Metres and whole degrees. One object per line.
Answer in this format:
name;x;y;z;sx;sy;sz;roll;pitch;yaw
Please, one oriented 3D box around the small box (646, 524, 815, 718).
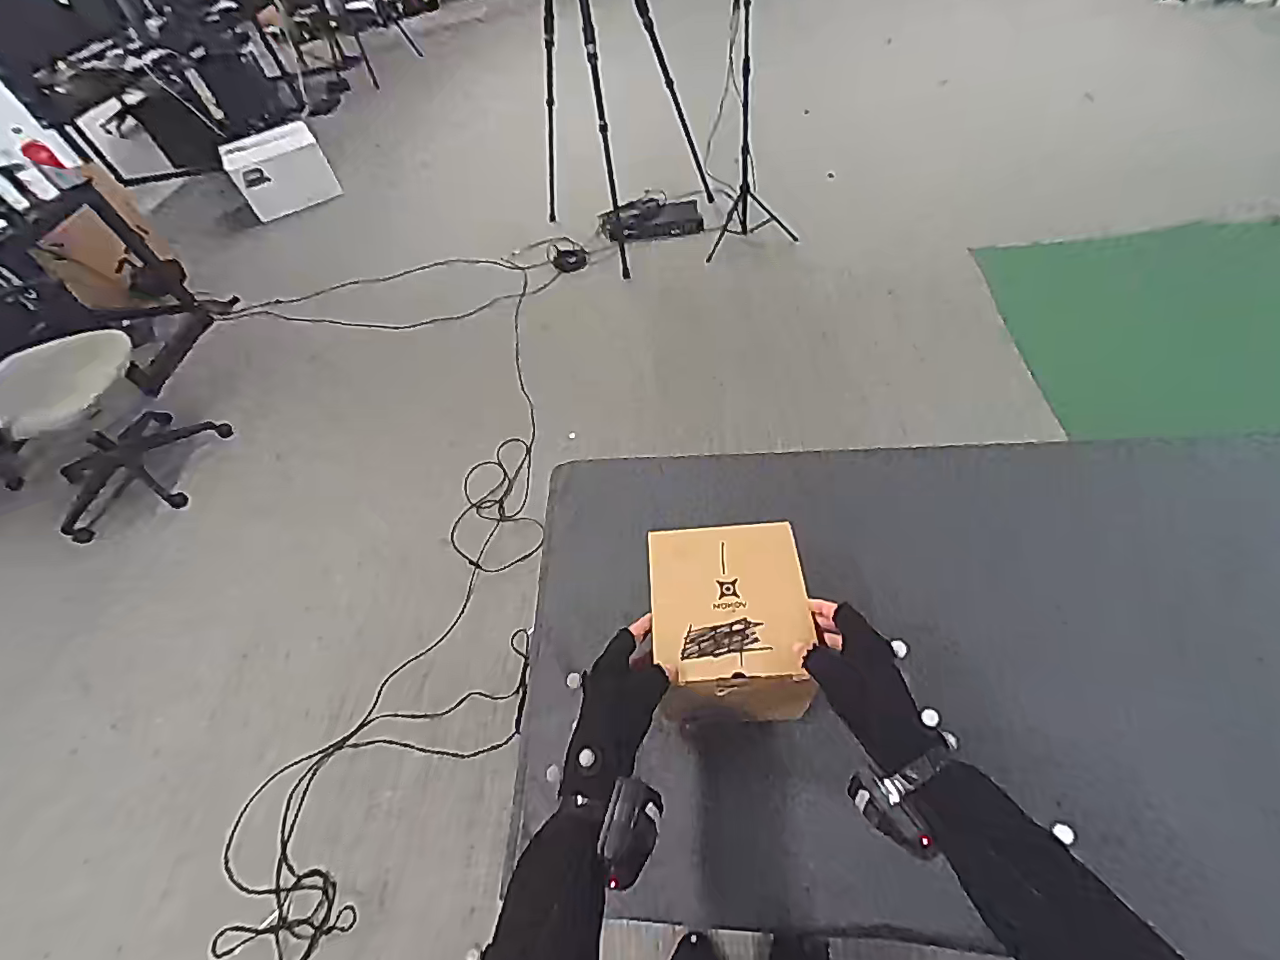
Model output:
small box;0.097;0.173;0.638;0.168;0.176;0.179;-4;52;4
